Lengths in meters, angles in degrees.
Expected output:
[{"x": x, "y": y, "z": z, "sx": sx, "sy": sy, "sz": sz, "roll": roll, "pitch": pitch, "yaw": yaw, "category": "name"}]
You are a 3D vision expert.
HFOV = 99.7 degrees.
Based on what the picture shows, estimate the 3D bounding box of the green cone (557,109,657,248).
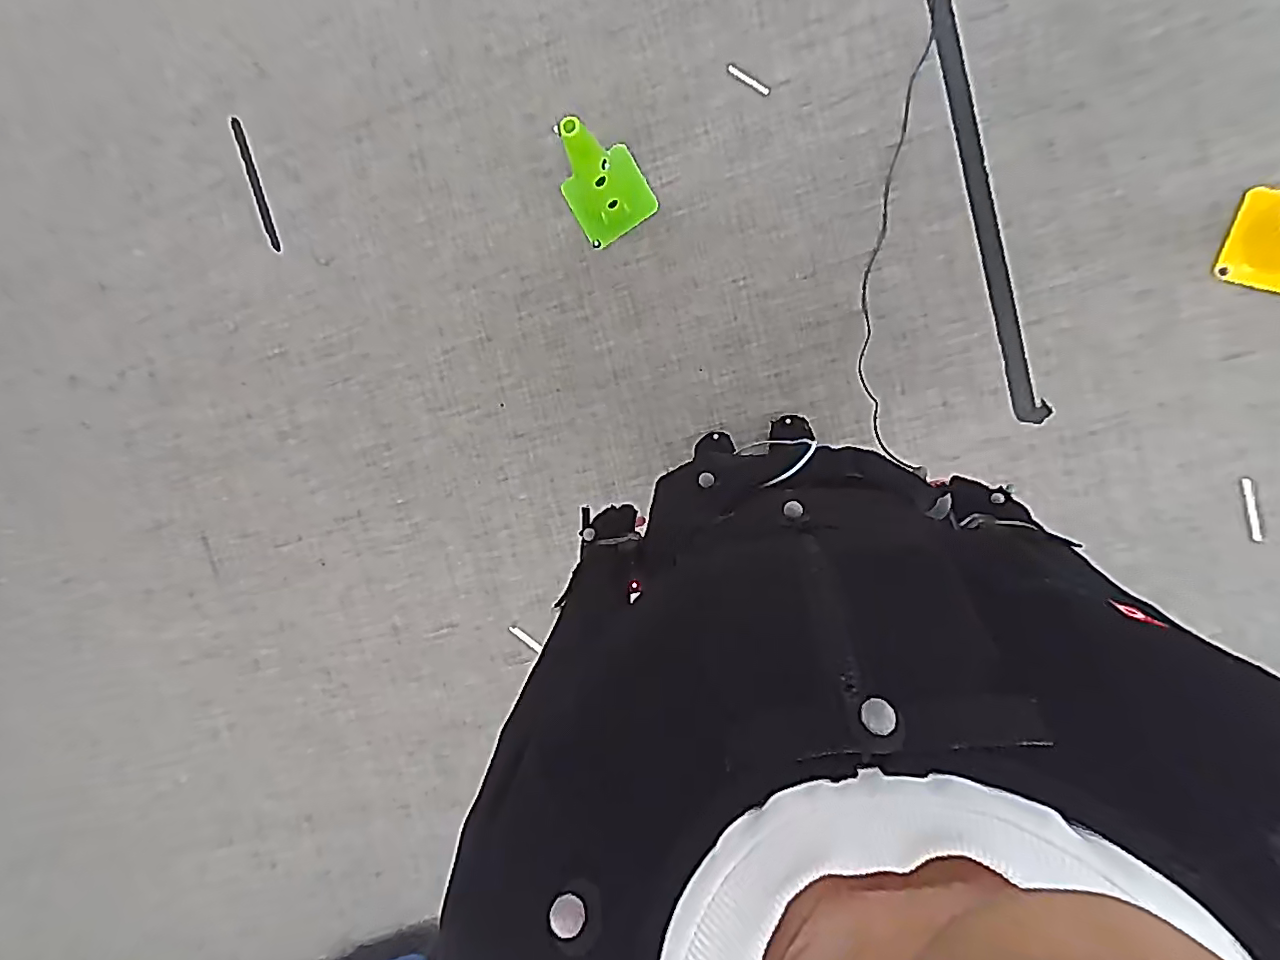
[{"x": -0.107, "y": -0.716, "z": 1.229, "sx": 0.200, "sy": 0.368, "sz": 0.202, "roll": -31, "pitch": 89, "yaw": 10, "category": "green cone"}]
